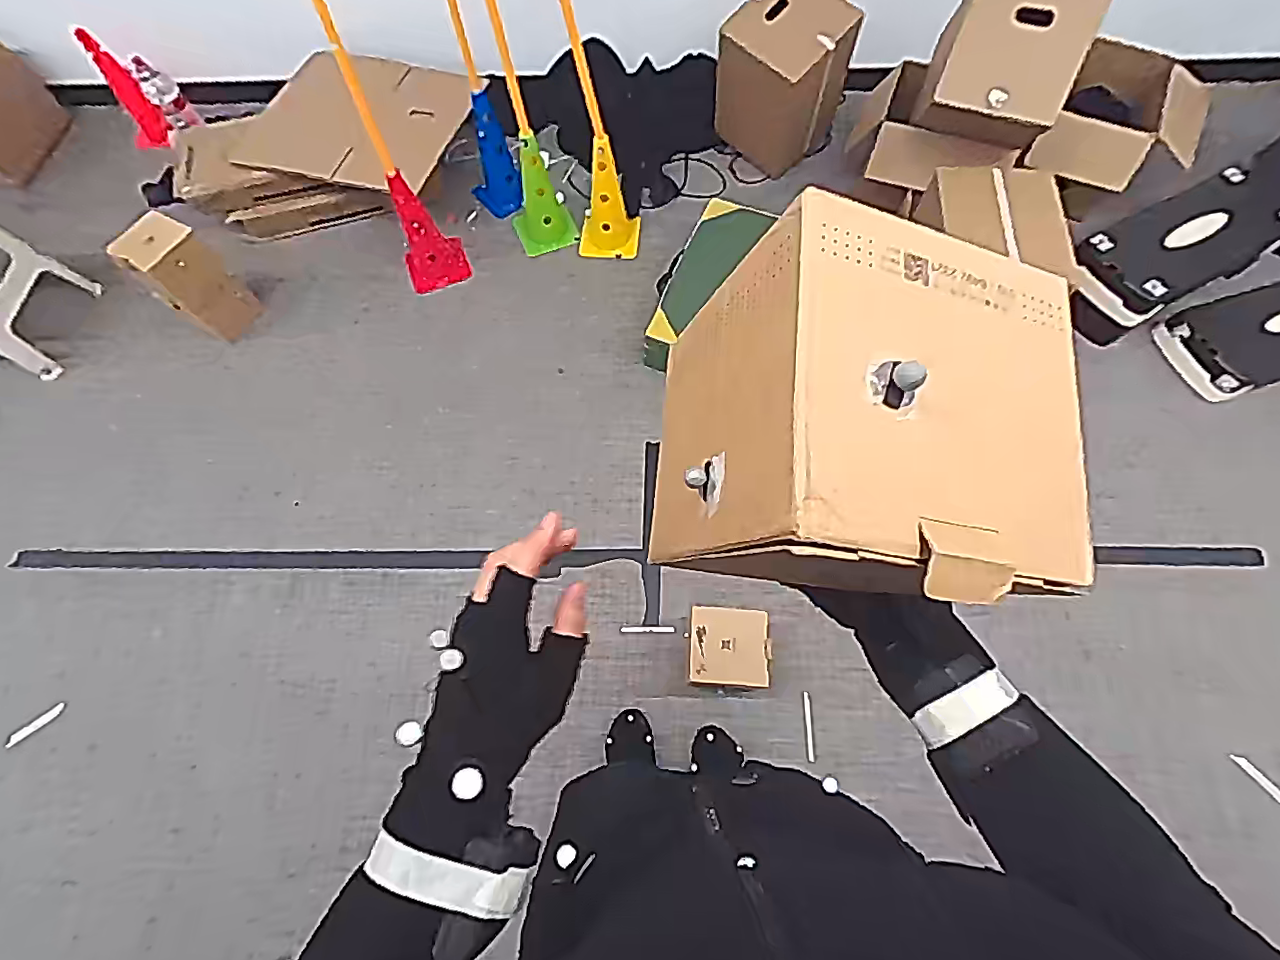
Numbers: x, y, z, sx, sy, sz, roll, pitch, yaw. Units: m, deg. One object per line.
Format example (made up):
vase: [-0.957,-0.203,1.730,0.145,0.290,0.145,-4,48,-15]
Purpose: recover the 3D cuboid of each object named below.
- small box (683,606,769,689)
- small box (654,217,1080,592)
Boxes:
small box: [0.201,0.404,1.287,0.179,0.176,0.168,5,67,2]
small box: [0.118,-0.024,0.336,0.168,0.179,0.176,10,76,-17]
